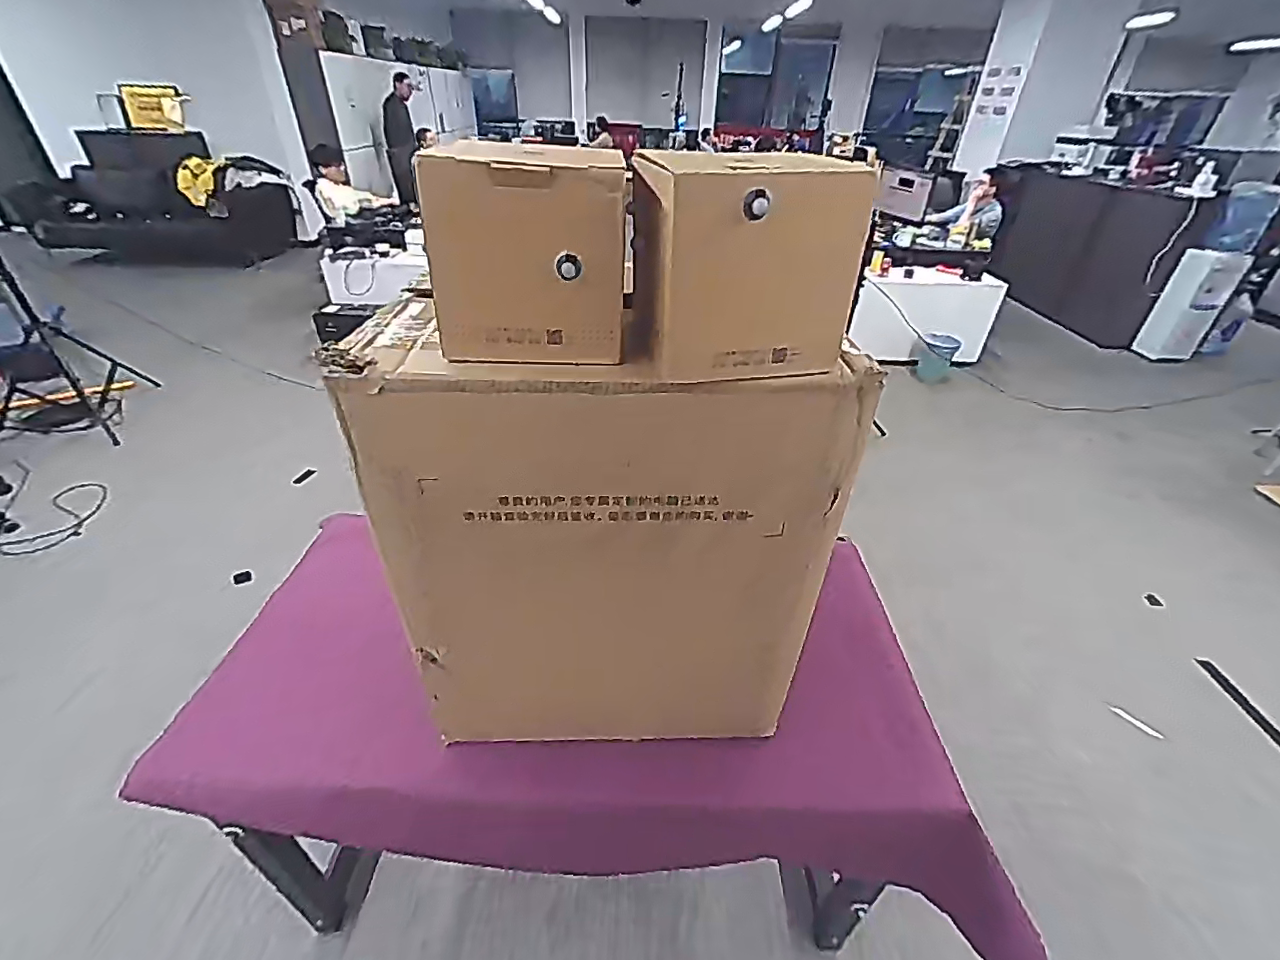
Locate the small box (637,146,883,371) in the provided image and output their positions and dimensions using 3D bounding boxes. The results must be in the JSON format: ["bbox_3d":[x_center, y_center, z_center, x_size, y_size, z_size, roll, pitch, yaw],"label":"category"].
[{"bbox_3d":[0.090,-0.214,0.513,0.168,0.176,0.179,-6,35,-9],"label":"small box"}]

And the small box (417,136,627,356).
[{"bbox_3d":[-0.099,-0.229,0.529,0.168,0.176,0.179,1,33,-6],"label":"small box"}]
